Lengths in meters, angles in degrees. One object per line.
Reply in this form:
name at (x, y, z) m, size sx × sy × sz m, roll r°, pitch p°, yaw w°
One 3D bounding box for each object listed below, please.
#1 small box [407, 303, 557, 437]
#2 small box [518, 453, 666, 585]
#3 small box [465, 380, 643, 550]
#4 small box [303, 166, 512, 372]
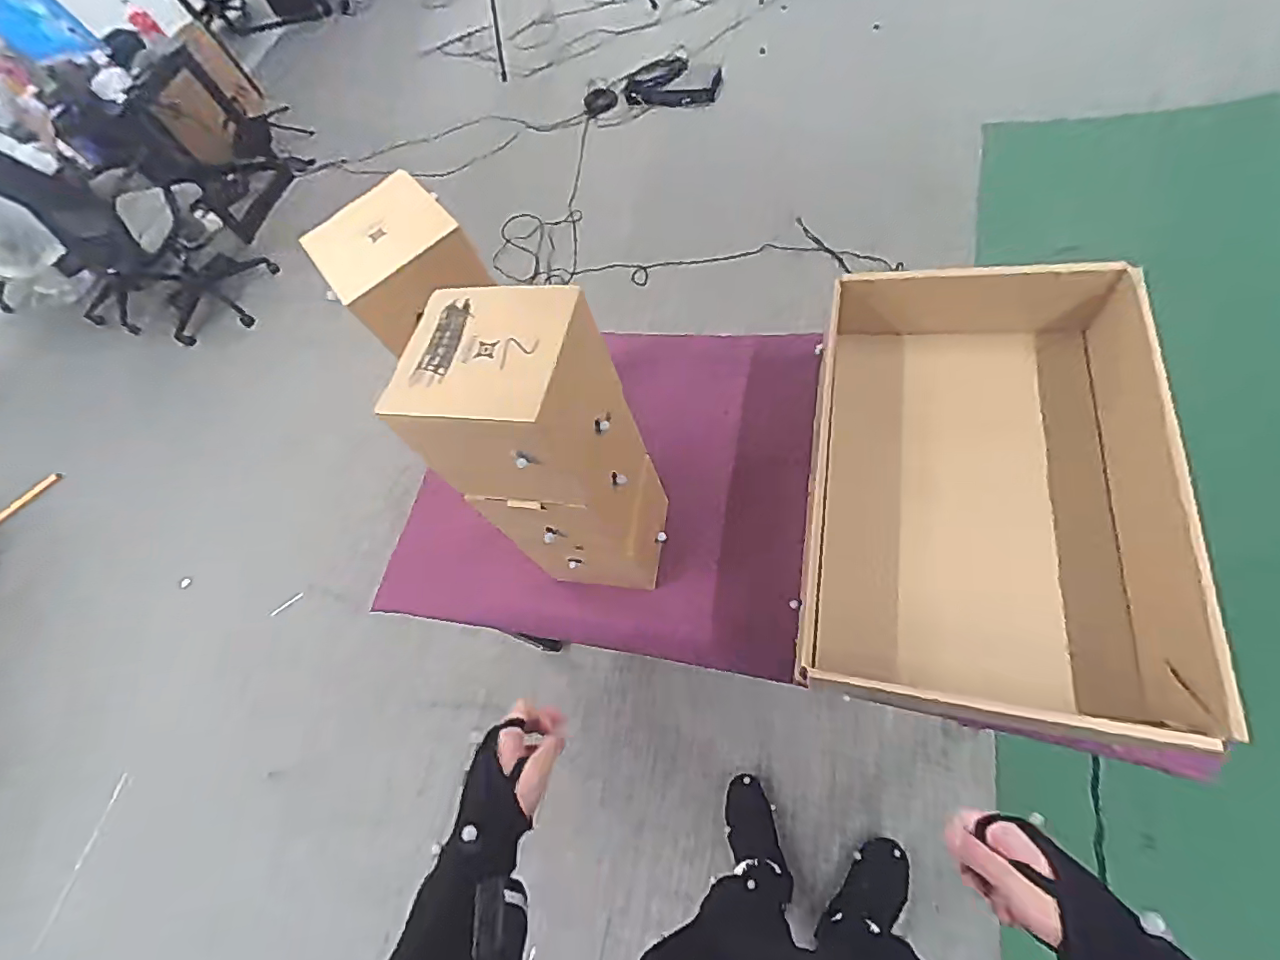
small box at (-0.264, -0.201, 0.873) m, size 0.179 × 0.176 × 0.168 m, roll -37°, pitch 62°, yaw -6°
small box at (-0.066, 0.063, 0.874) m, size 0.179 × 0.176 × 0.168 m, roll 3°, pitch 64°, yaw 16°
small box at (-0.102, -0.016, 0.736) m, size 0.168 × 0.176 × 0.179 m, roll 5°, pitch 64°, yaw 16°
small box at (-0.303, -0.274, 0.734) m, size 0.168 × 0.176 × 0.179 m, roll -39°, pitch 62°, yaw -6°
